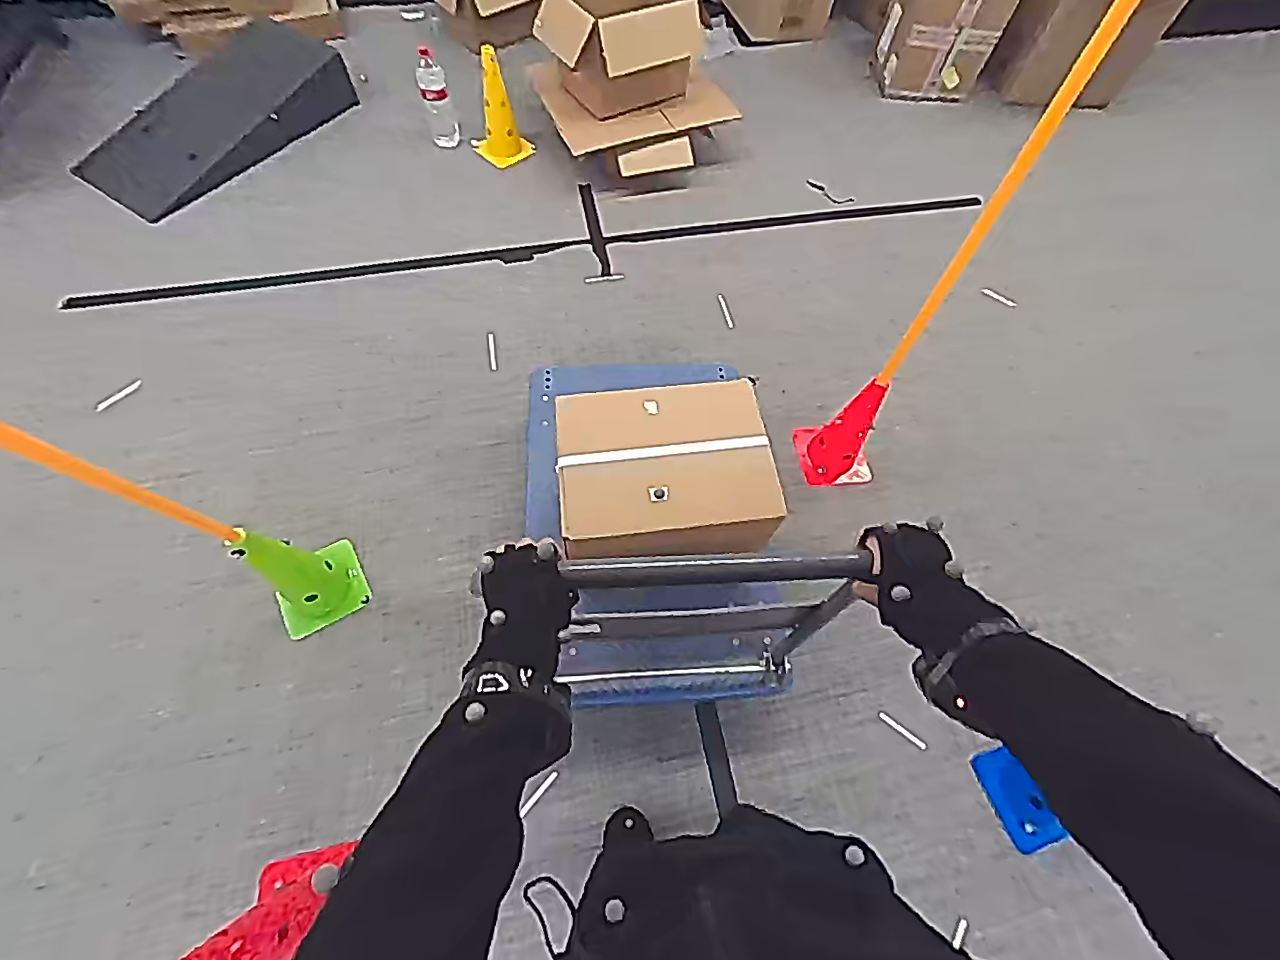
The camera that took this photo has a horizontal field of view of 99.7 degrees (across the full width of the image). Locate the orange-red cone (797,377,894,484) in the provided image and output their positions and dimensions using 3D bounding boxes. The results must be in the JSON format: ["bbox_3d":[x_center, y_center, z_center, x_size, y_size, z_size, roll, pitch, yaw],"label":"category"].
[{"bbox_3d":[0.586,-0.155,1.456,0.199,0.360,0.198,-3,63,-6],"label":"orange-red cone"}]

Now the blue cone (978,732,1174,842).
[{"bbox_3d":[0.894,0.618,1.084,0.193,0.380,0.192,-13,63,-10],"label":"blue cone"}]
